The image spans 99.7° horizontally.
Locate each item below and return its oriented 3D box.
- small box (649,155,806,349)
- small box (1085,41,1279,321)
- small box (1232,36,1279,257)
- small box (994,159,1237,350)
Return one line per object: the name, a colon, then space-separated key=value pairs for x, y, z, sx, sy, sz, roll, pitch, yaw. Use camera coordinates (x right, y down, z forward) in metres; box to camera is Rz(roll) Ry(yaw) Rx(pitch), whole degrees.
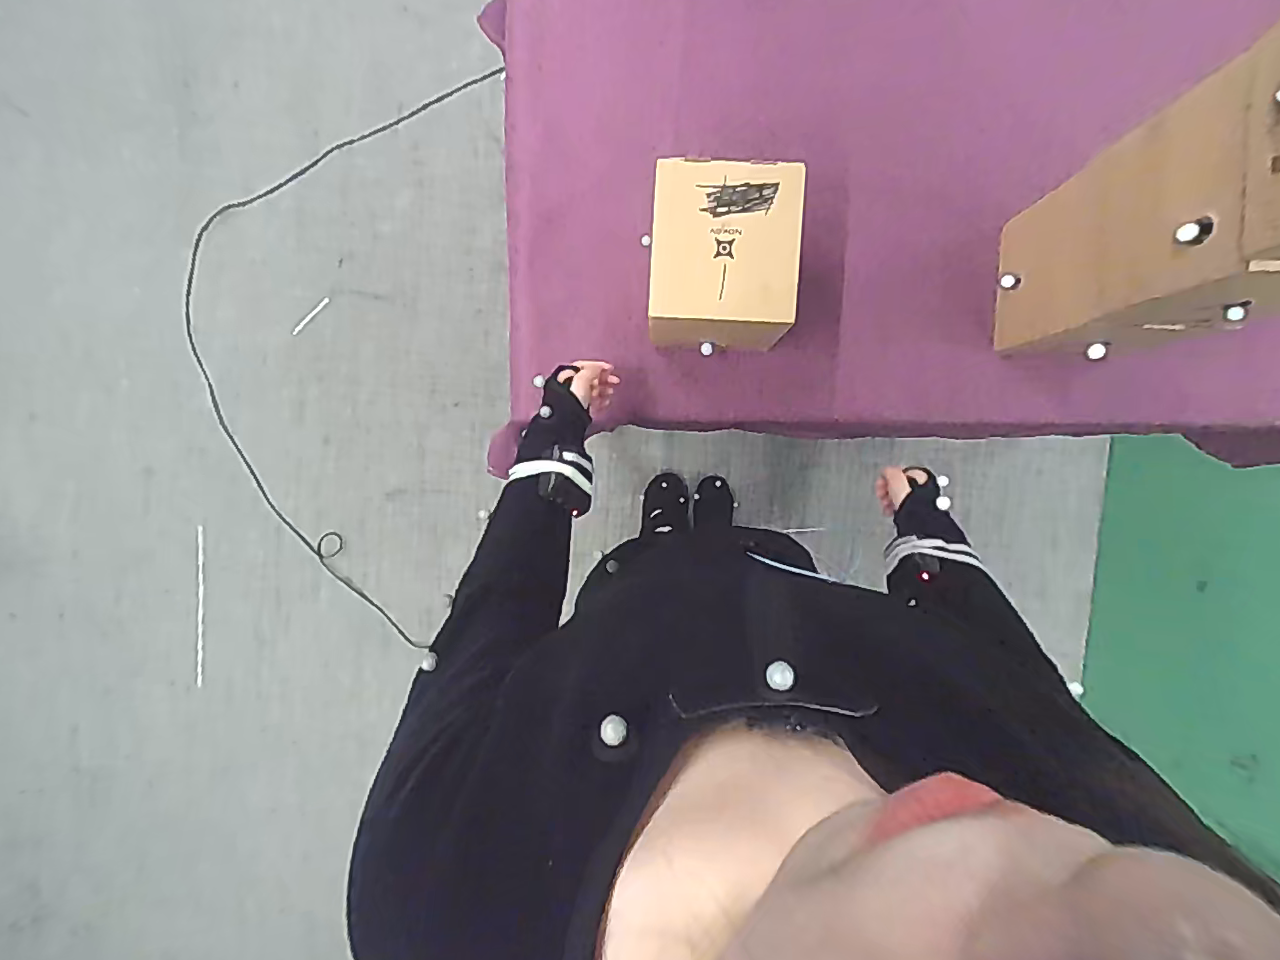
small box: x=0.098 y=-0.271 z=0.676 sx=0.168 sy=0.176 sz=0.179 roll=3 pitch=94 yaw=2
small box: x=0.553 y=-0.249 z=0.491 sx=0.168 sy=0.176 sz=0.179 roll=2 pitch=93 yaw=2
small box: x=0.541 y=-0.246 z=0.328 sx=0.179 sy=0.176 sz=0.168 roll=2 pitch=92 yaw=3
small box: x=0.564 y=-0.258 z=0.656 sx=0.168 sy=0.176 sz=0.179 roll=2 pitch=94 yaw=2
